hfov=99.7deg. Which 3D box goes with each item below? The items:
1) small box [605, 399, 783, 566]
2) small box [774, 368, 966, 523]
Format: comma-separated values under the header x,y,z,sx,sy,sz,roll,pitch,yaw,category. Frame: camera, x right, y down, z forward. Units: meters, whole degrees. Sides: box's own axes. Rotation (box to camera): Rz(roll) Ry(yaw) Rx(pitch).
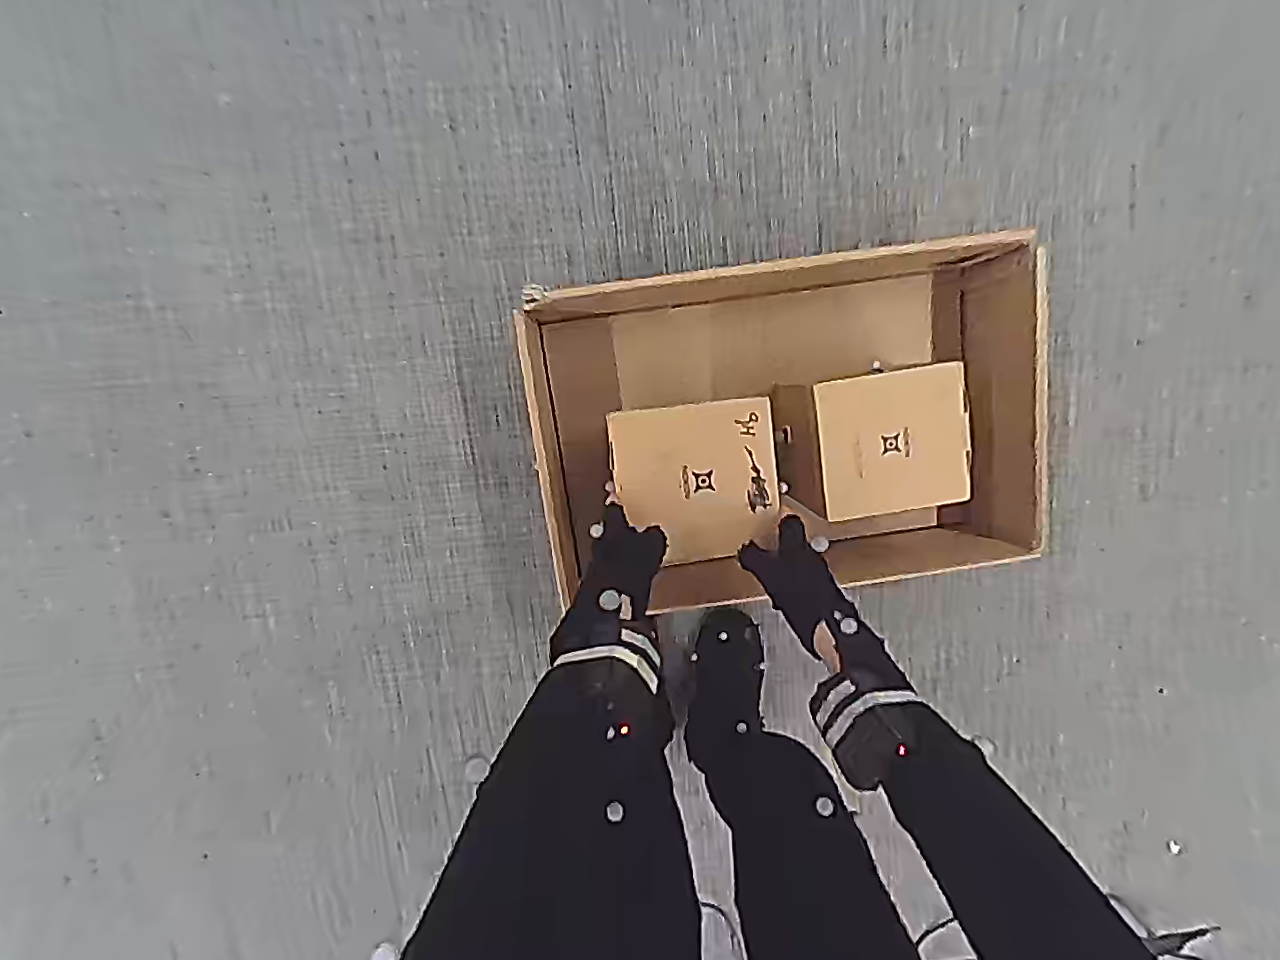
x,y,z,sx,sy,sz,roll,pitch,yaw,category
0.061,0.004,0.652,0.179,0.176,0.168,-7,90,2,small box
0.290,-0.053,0.709,0.179,0.176,0.168,-9,99,0,small box
